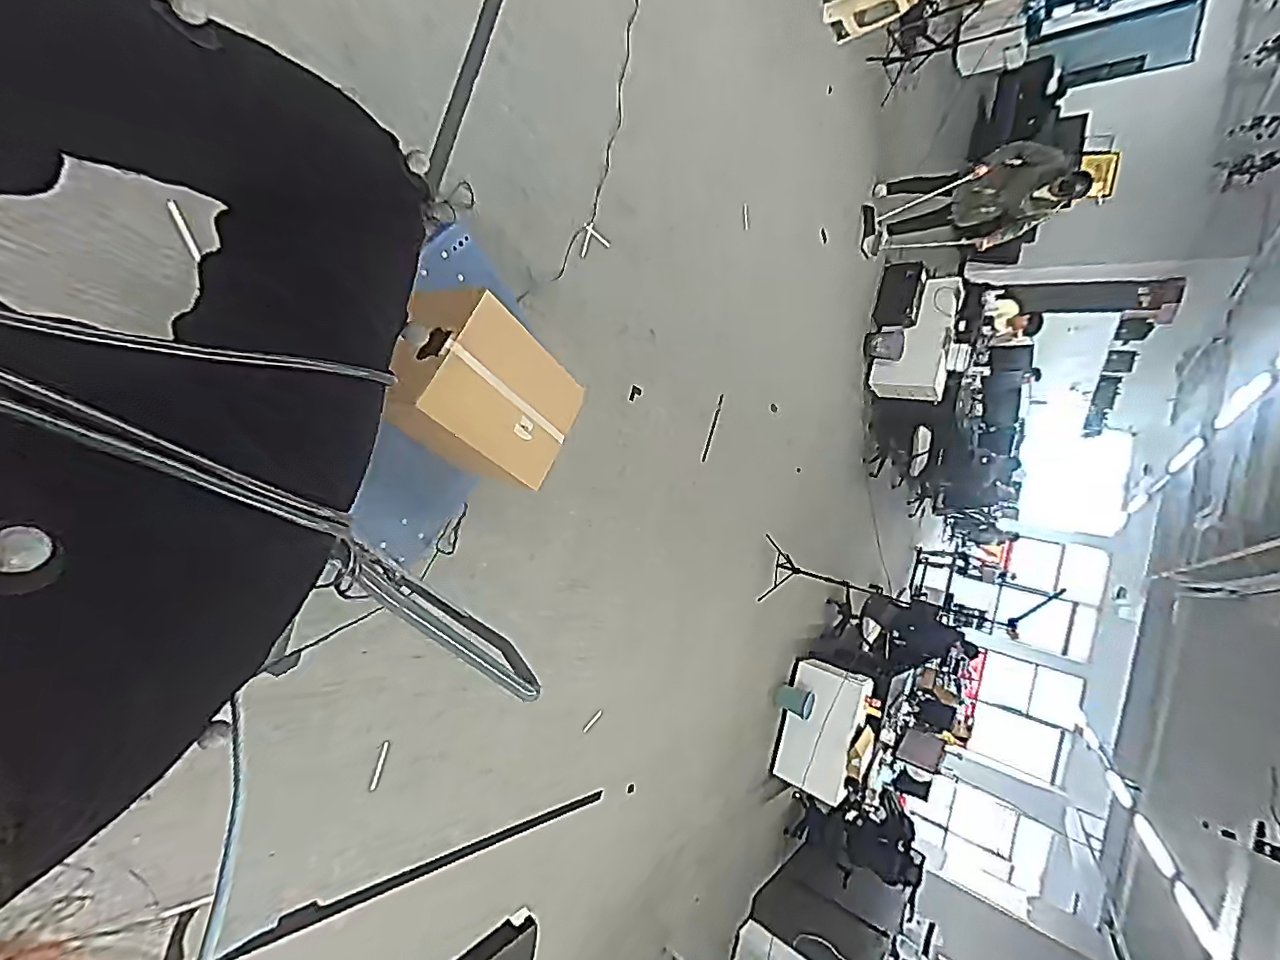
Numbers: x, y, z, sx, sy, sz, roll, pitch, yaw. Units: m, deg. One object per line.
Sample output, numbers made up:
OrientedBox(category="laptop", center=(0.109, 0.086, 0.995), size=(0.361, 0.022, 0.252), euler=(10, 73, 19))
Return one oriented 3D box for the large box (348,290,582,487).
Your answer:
OrientedBox(category="large box", center=(-0.429, -0.225, 1.376), size=(0.408, 0.320, 0.320), euler=(44, 66, -49))
